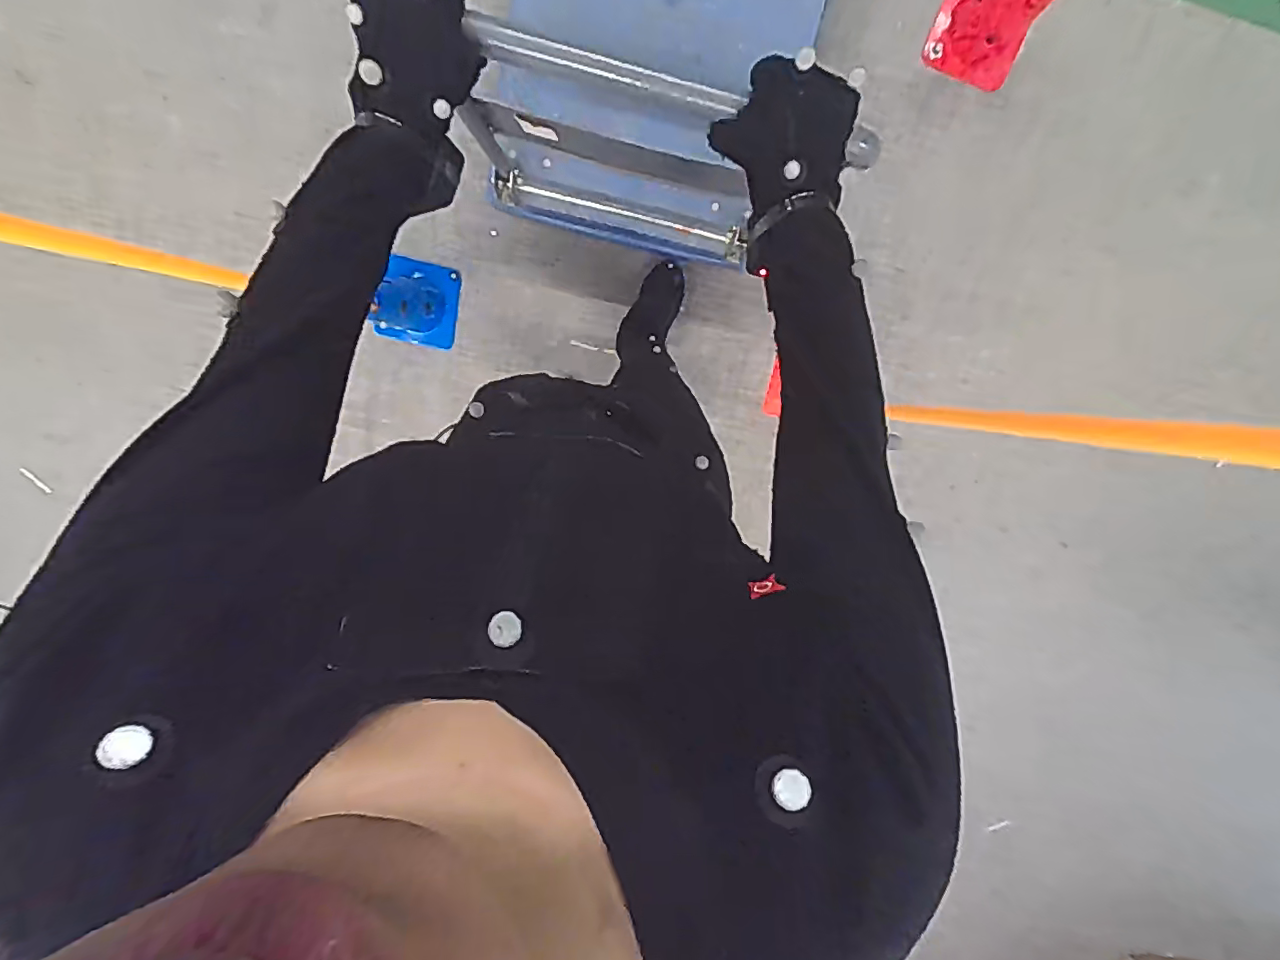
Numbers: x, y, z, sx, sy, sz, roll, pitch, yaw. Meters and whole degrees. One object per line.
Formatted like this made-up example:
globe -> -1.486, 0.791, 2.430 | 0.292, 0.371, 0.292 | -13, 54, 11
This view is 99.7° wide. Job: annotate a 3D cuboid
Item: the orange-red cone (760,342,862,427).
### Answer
orange-red cone -> 0.428, -0.199, 1.258 | 0.199, 0.360, 0.198 | 12, 107, -3
